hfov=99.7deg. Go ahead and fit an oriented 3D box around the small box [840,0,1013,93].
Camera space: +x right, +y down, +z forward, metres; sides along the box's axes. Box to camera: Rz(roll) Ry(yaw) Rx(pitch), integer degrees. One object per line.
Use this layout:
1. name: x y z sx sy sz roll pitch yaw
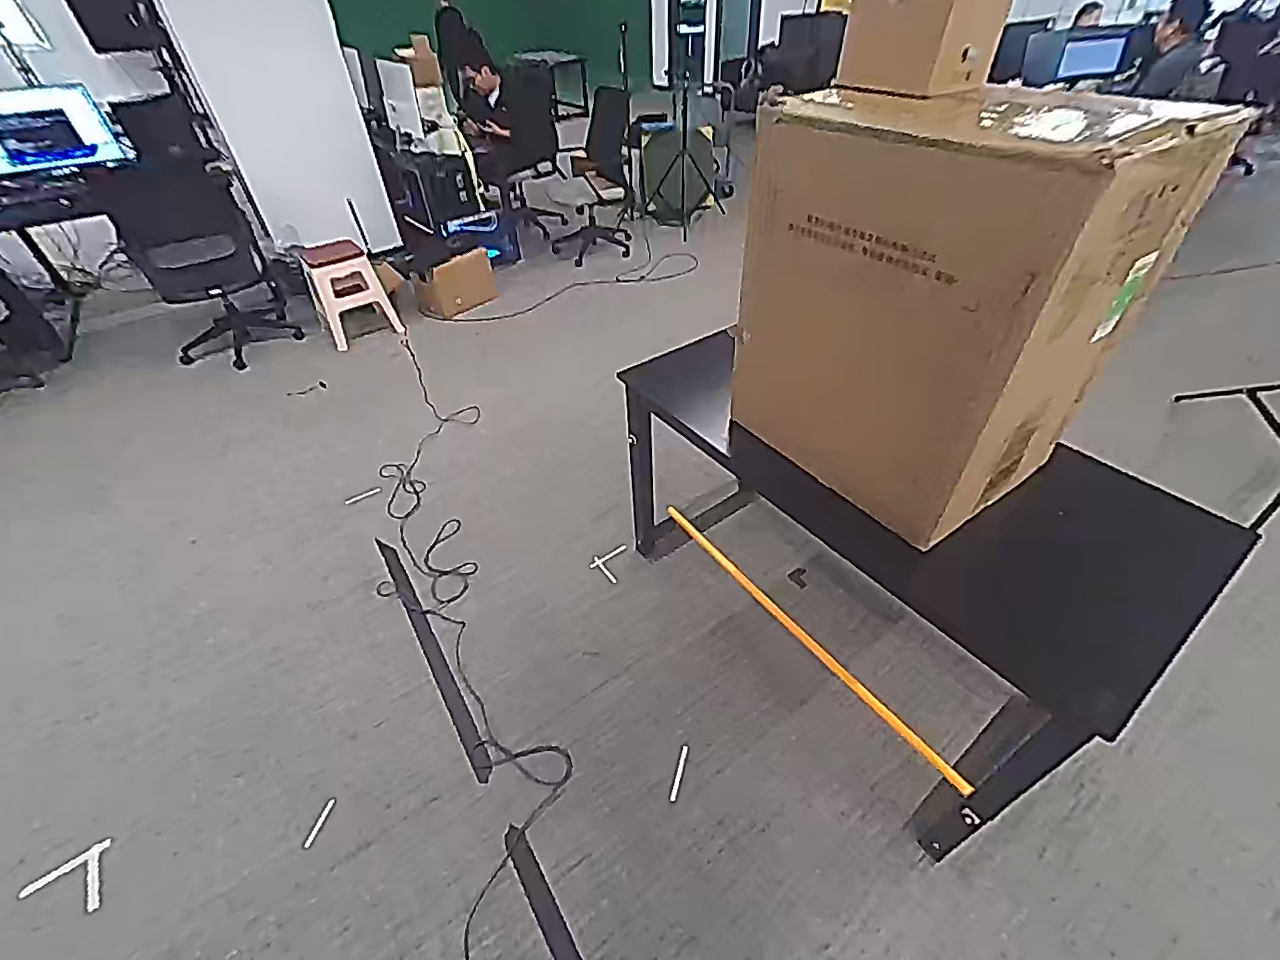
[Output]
1. small box: 0.445 -0.718 0.844 0.168 0.176 0.179 -26 49 -25
